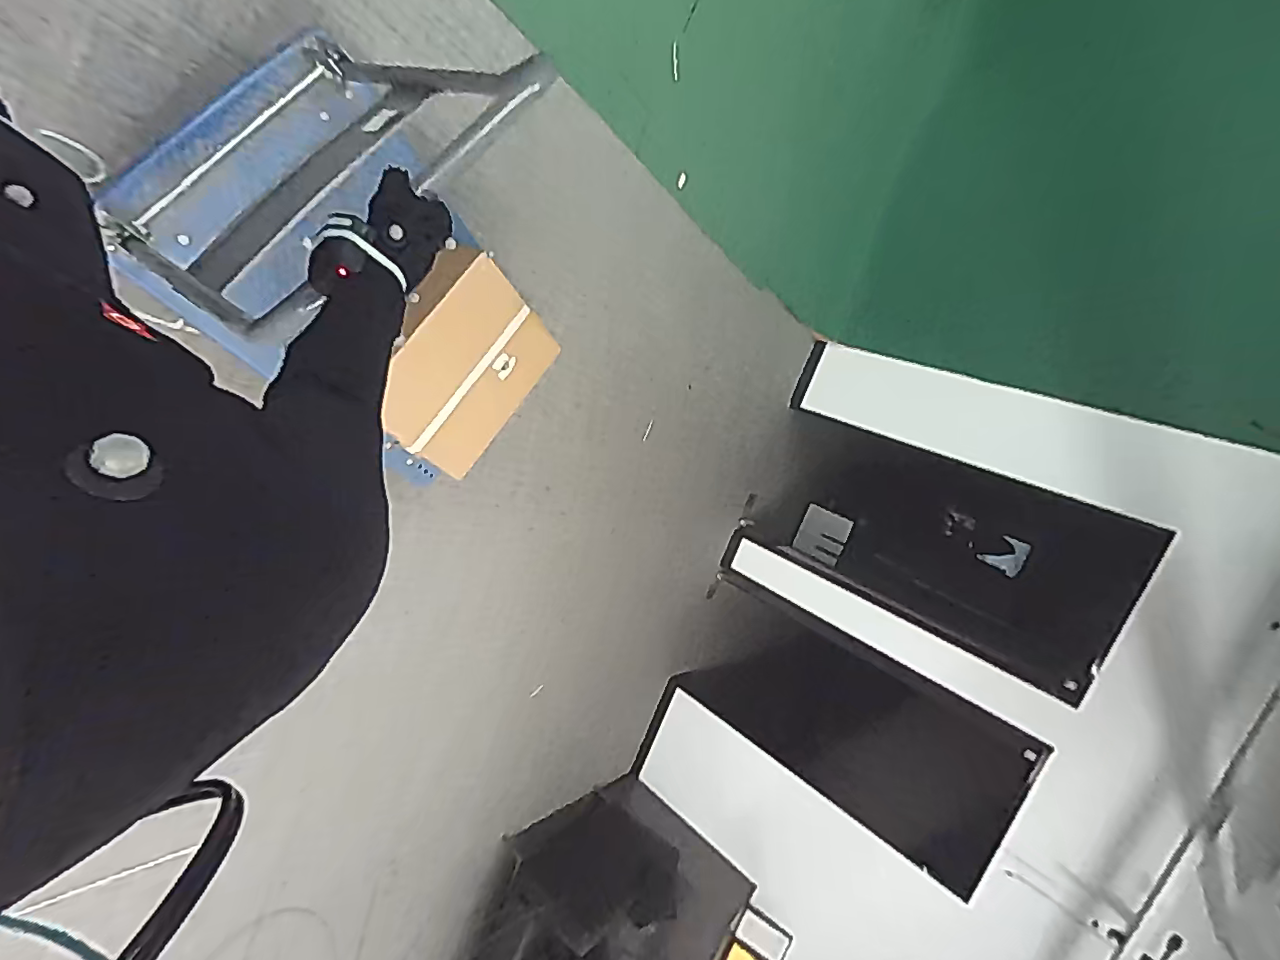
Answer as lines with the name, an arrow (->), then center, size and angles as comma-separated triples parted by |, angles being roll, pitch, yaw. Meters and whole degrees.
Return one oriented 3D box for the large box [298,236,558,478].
large box -> -0.473, -0.284, 1.242 | 0.408, 0.320, 0.320 | -56, 146, -11
